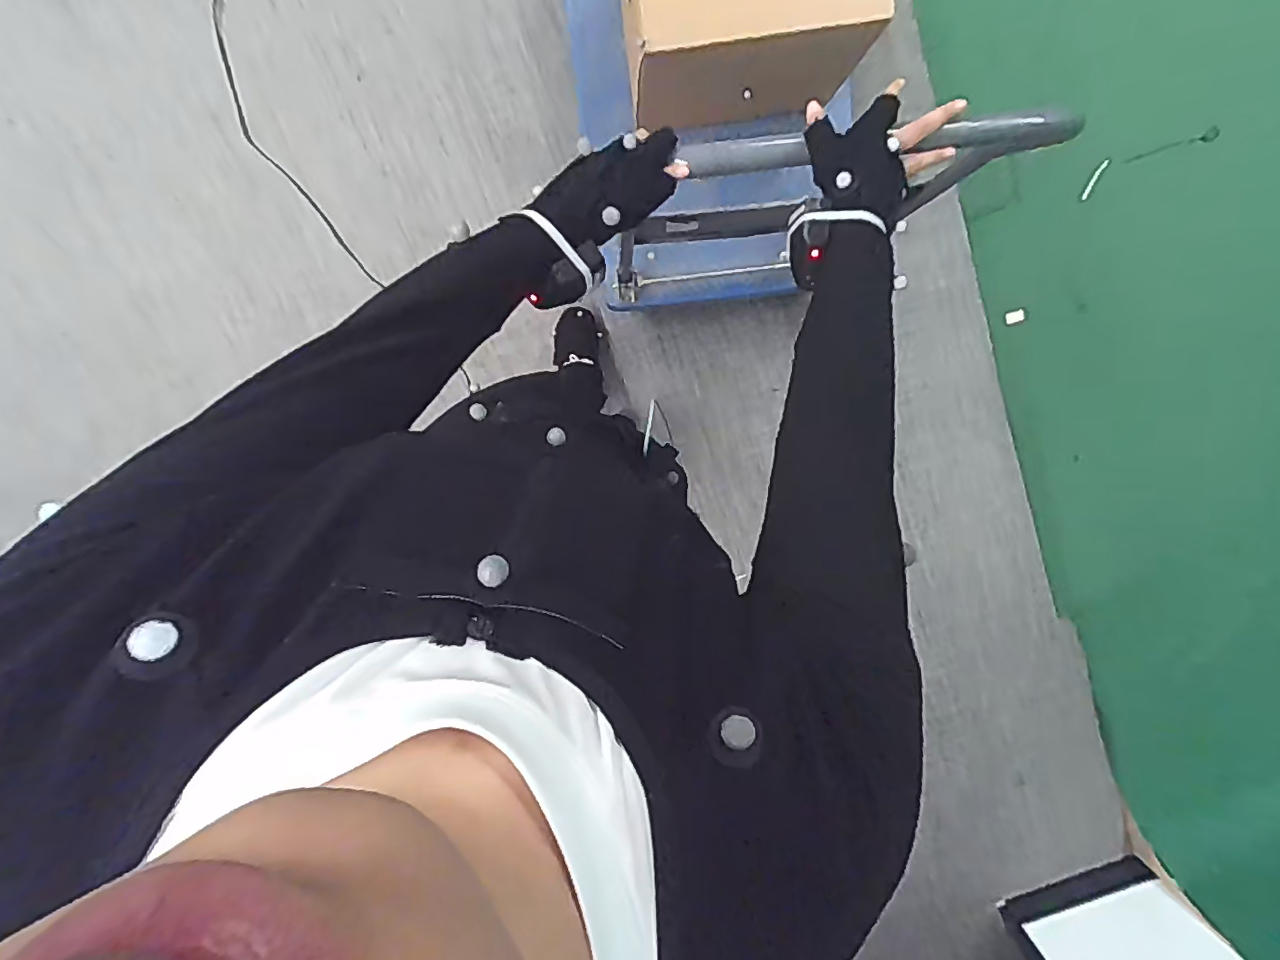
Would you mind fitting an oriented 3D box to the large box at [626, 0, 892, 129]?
[{"bbox_3d":[0.183,-0.889,0.976,0.408,0.320,0.320,-8,102,1],"label":"large box"}]
